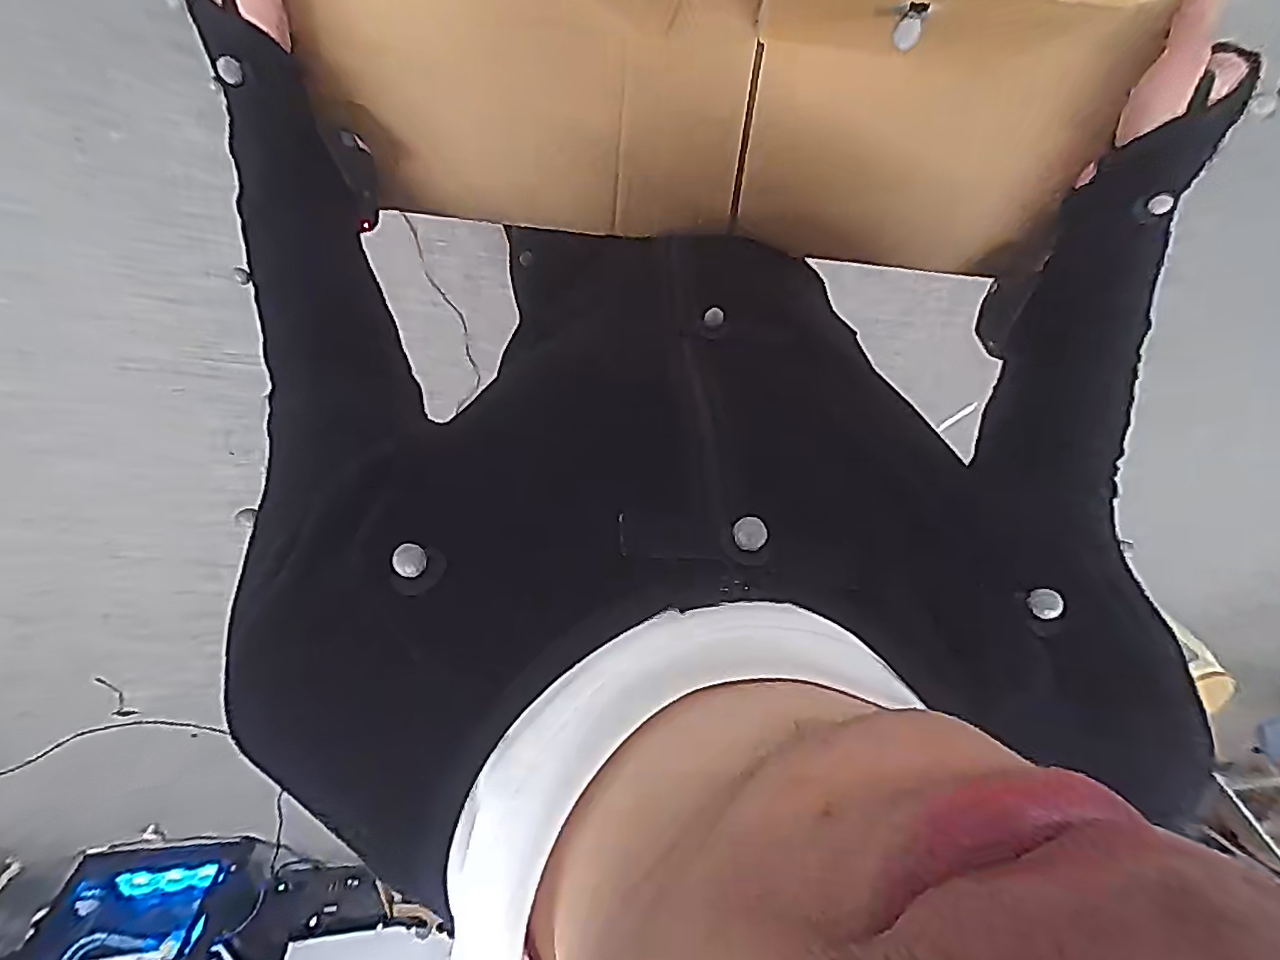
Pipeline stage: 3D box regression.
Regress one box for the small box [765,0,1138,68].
[{"bbox_3d":[0.172,-0.342,0.293,0.179,0.176,0.168,11,121,6],"label":"small box"}]
